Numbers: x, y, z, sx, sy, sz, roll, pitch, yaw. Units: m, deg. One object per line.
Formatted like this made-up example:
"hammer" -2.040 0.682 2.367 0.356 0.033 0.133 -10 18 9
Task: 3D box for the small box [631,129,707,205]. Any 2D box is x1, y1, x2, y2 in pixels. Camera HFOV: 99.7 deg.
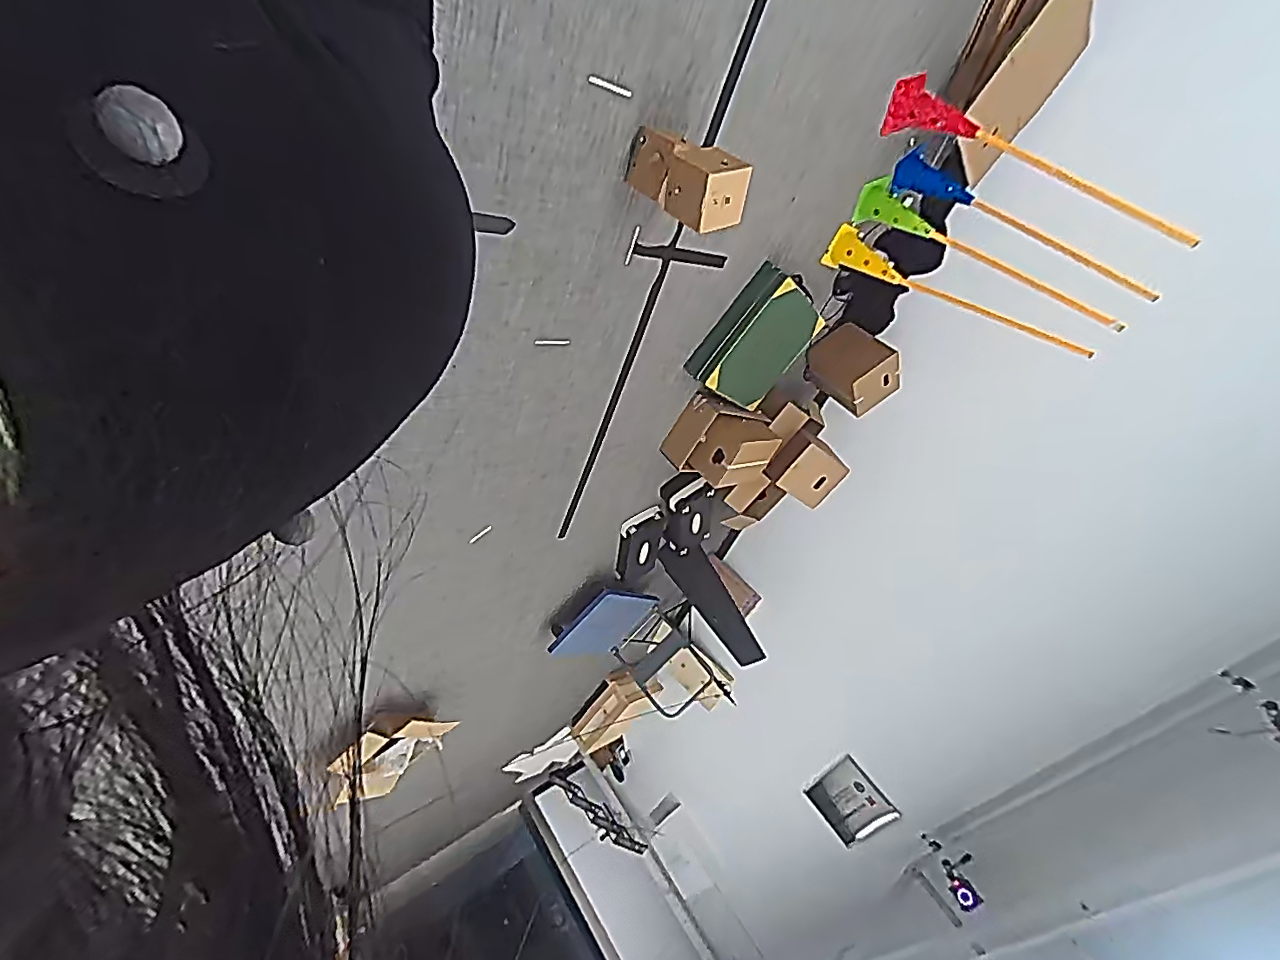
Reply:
"small box" 0.099 -0.962 1.678 0.179 0.176 0.168 -16 142 -40

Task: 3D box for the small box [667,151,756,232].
"small box" 0.206 -0.860 1.604 0.179 0.176 0.168 -22 144 -28
